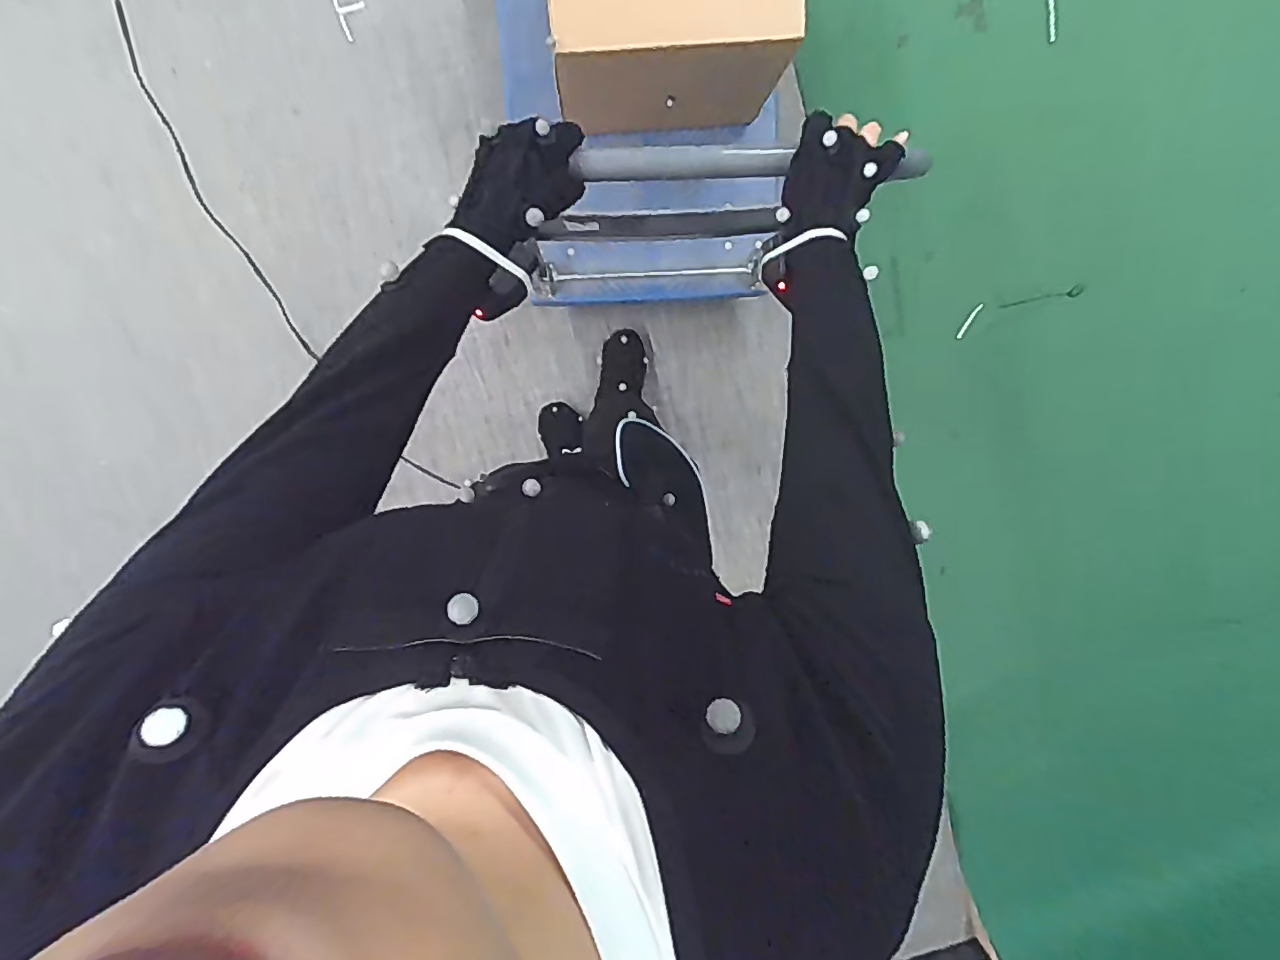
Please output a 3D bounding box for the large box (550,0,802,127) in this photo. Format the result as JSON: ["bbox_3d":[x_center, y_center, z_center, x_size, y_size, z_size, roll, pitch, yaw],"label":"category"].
[{"bbox_3d":[0.043,-0.883,0.977,0.408,0.320,0.320,-6,102,-2],"label":"large box"}]
